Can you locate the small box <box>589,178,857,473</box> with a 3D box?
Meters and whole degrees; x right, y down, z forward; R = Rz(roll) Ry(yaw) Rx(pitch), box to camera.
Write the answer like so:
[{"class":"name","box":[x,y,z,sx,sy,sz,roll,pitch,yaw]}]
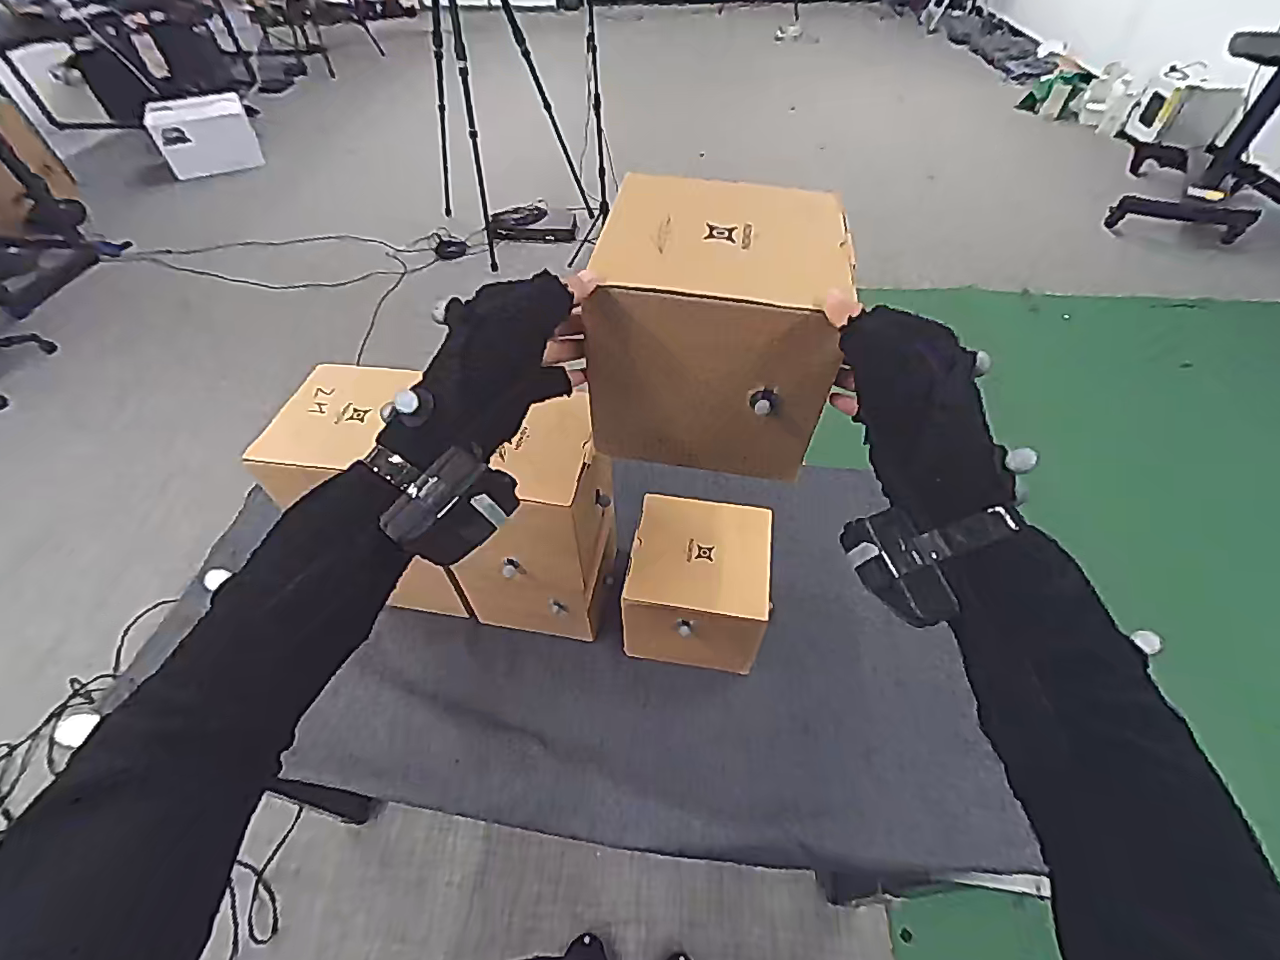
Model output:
[{"class":"small box","box":[0.062,-0.124,0.456,0.179,0.176,0.168,8,51,5]}]
